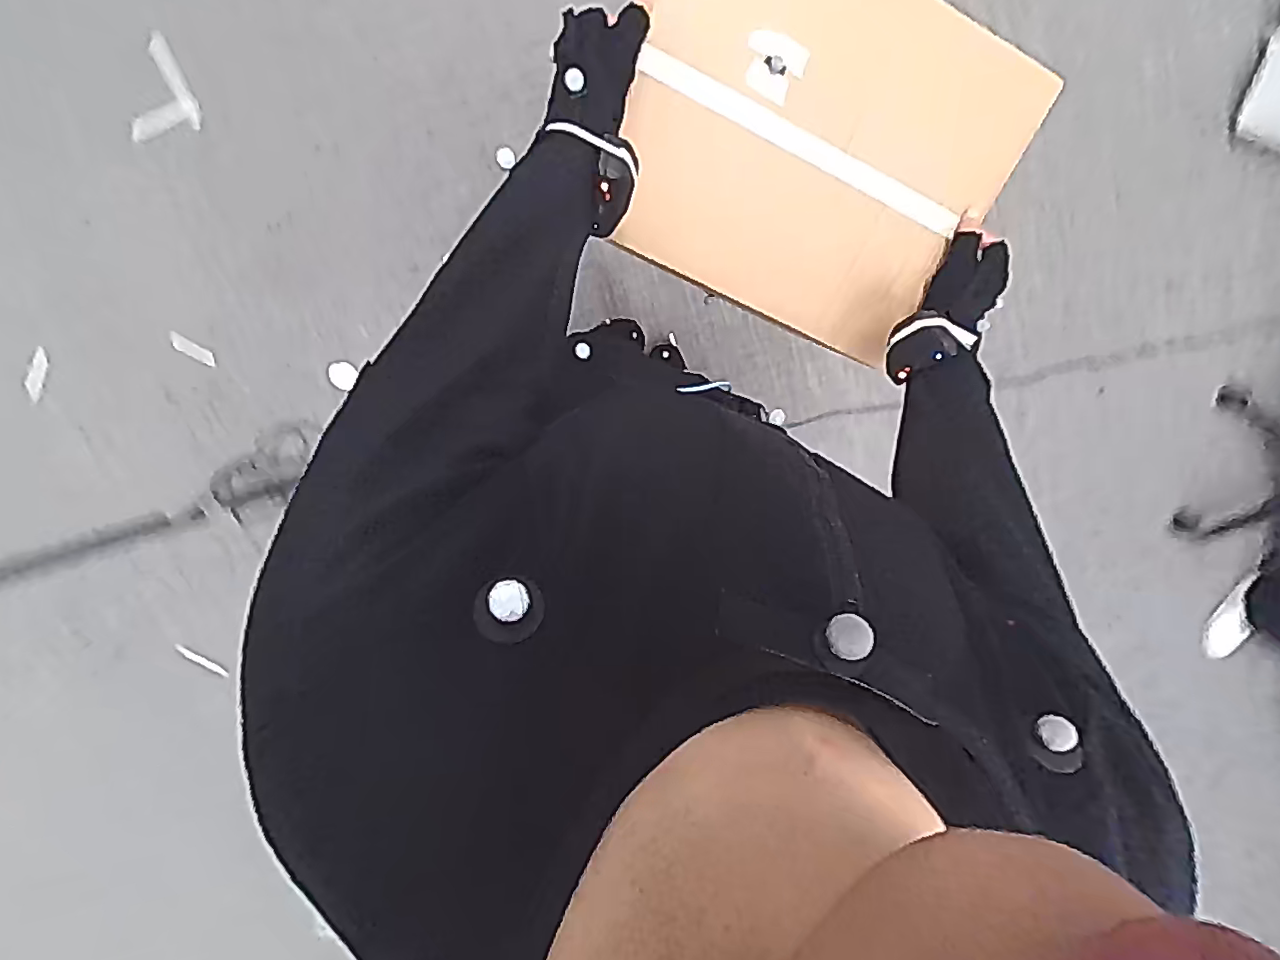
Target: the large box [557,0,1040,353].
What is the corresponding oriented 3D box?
[{"bbox_3d":[0.151,-0.399,0.684,0.408,0.320,0.320,22,109,-9],"label":"large box"}]
